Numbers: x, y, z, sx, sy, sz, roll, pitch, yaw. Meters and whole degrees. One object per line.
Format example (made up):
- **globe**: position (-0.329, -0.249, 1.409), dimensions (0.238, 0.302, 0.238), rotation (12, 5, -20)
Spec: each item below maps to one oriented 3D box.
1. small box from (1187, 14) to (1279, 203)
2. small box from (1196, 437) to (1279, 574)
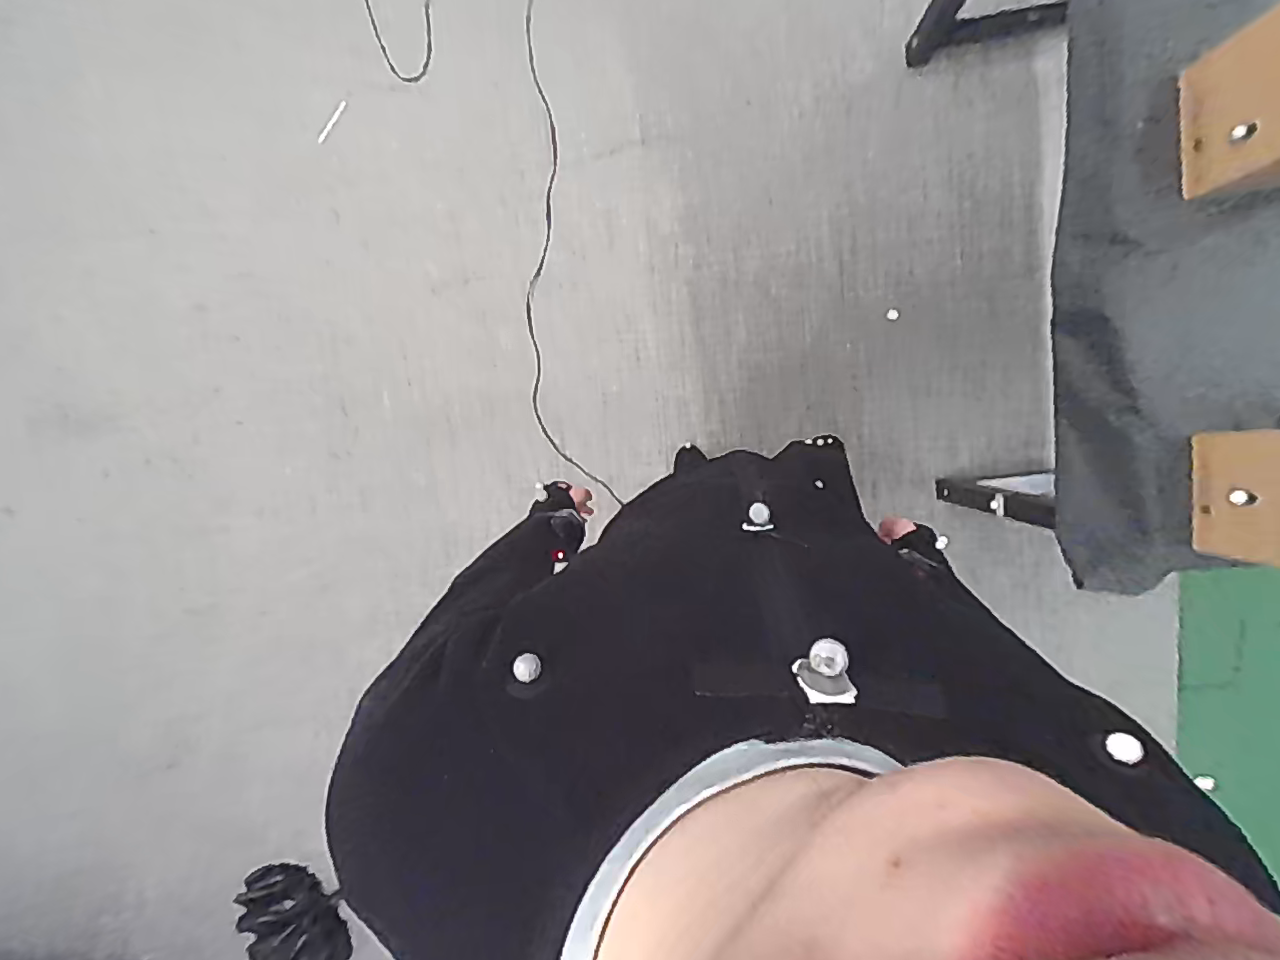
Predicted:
- **small box**: position (0.789, -0.441, 0.620), dimensions (0.179, 0.176, 0.168), rotation (-6, 96, 4)
- **small box**: position (0.835, 0.029, 0.653), dimensions (0.179, 0.176, 0.168), rotation (-2, 93, 5)
